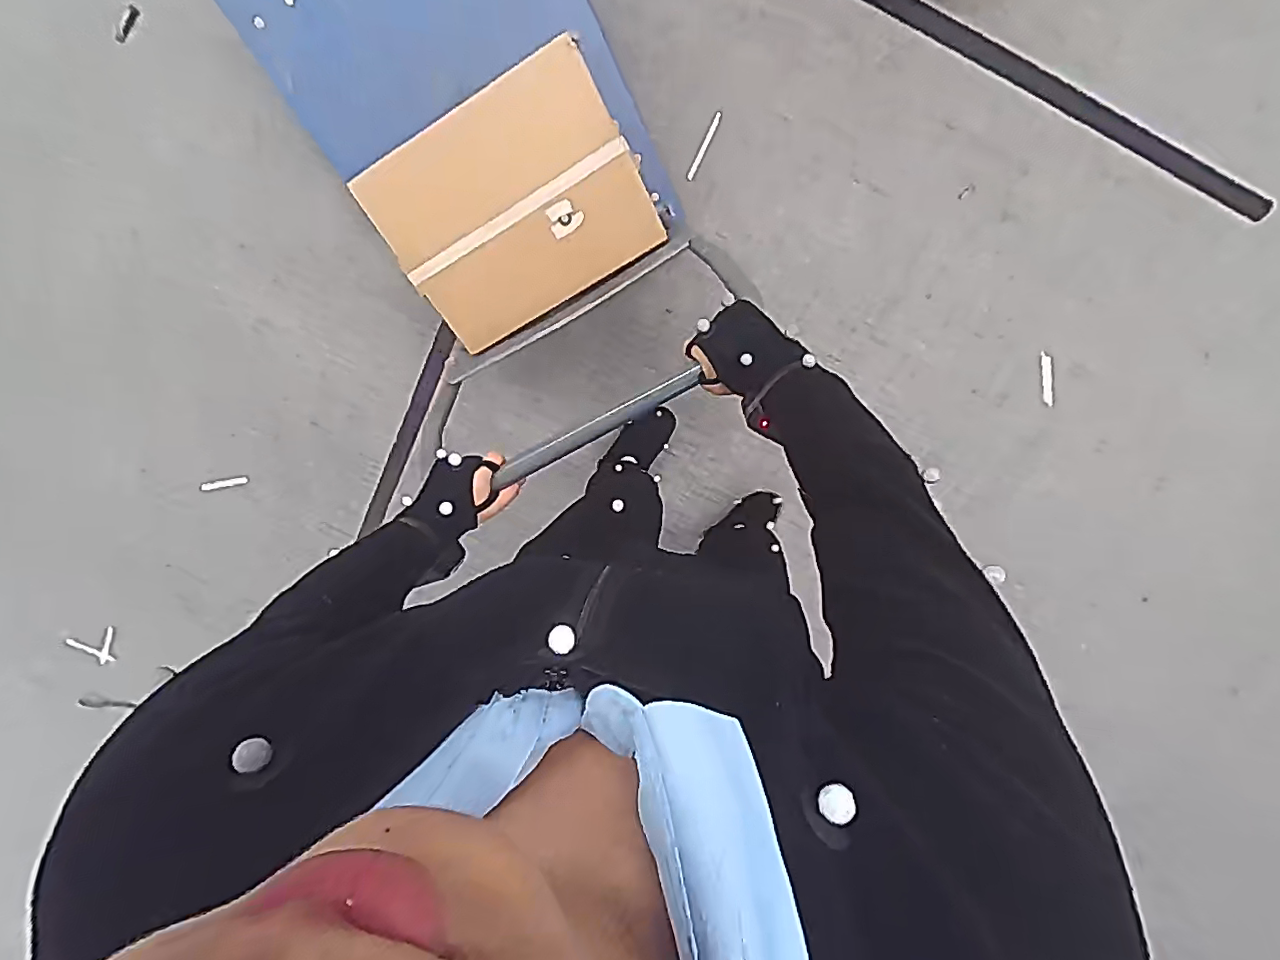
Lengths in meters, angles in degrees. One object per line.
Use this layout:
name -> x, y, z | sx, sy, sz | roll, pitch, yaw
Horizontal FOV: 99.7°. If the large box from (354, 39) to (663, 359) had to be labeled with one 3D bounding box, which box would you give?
large box -> -0.218, -0.491, 0.999 | 0.408, 0.320, 0.320 | -29, 119, 9
